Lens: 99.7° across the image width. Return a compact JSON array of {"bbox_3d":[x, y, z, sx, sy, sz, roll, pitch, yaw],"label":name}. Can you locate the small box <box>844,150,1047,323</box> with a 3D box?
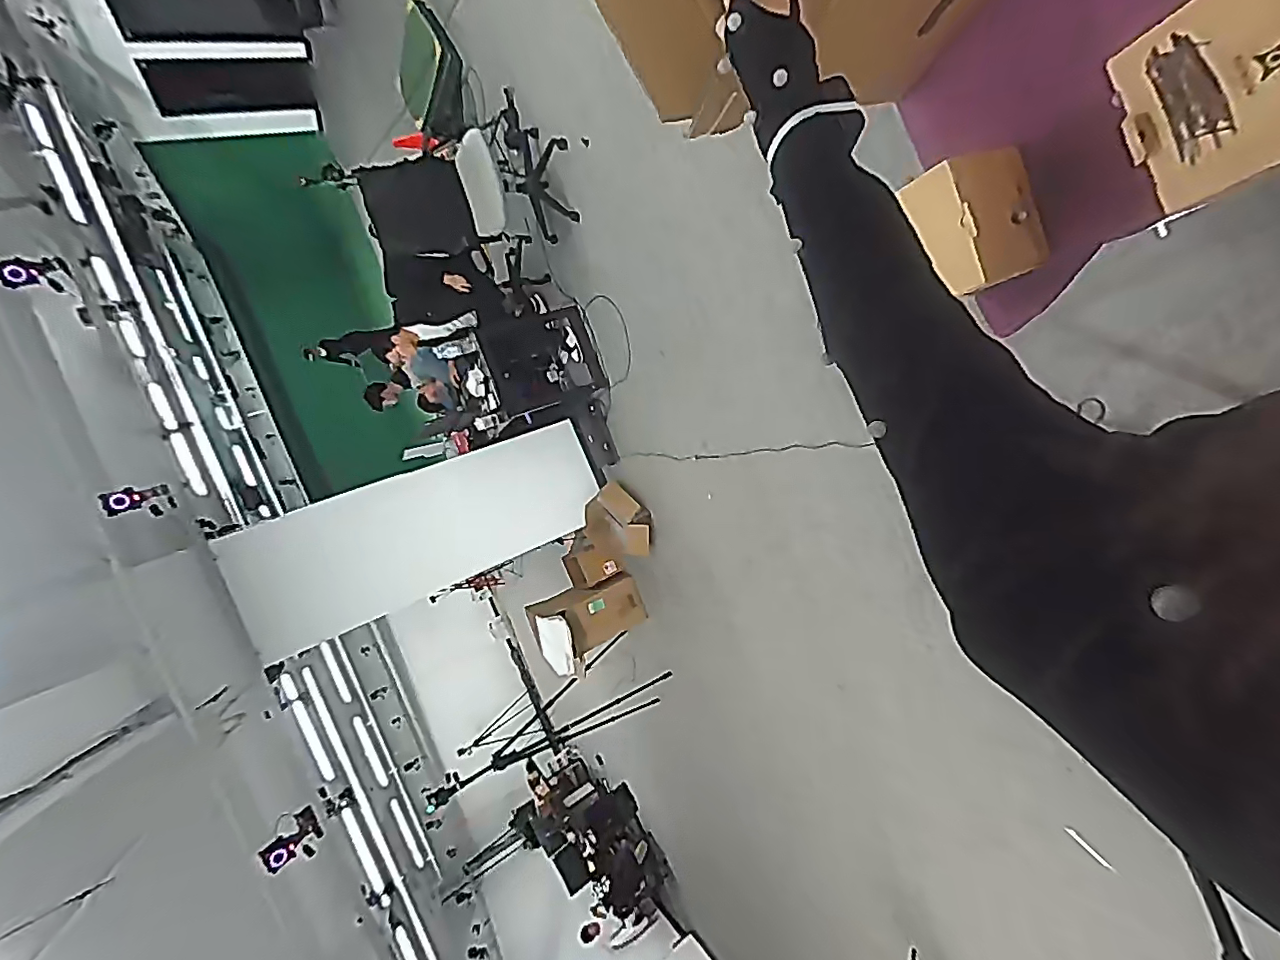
[{"bbox_3d":[0.444,-0.351,0.793,0.179,0.176,0.168,-12,100,63],"label":"small box"}]
